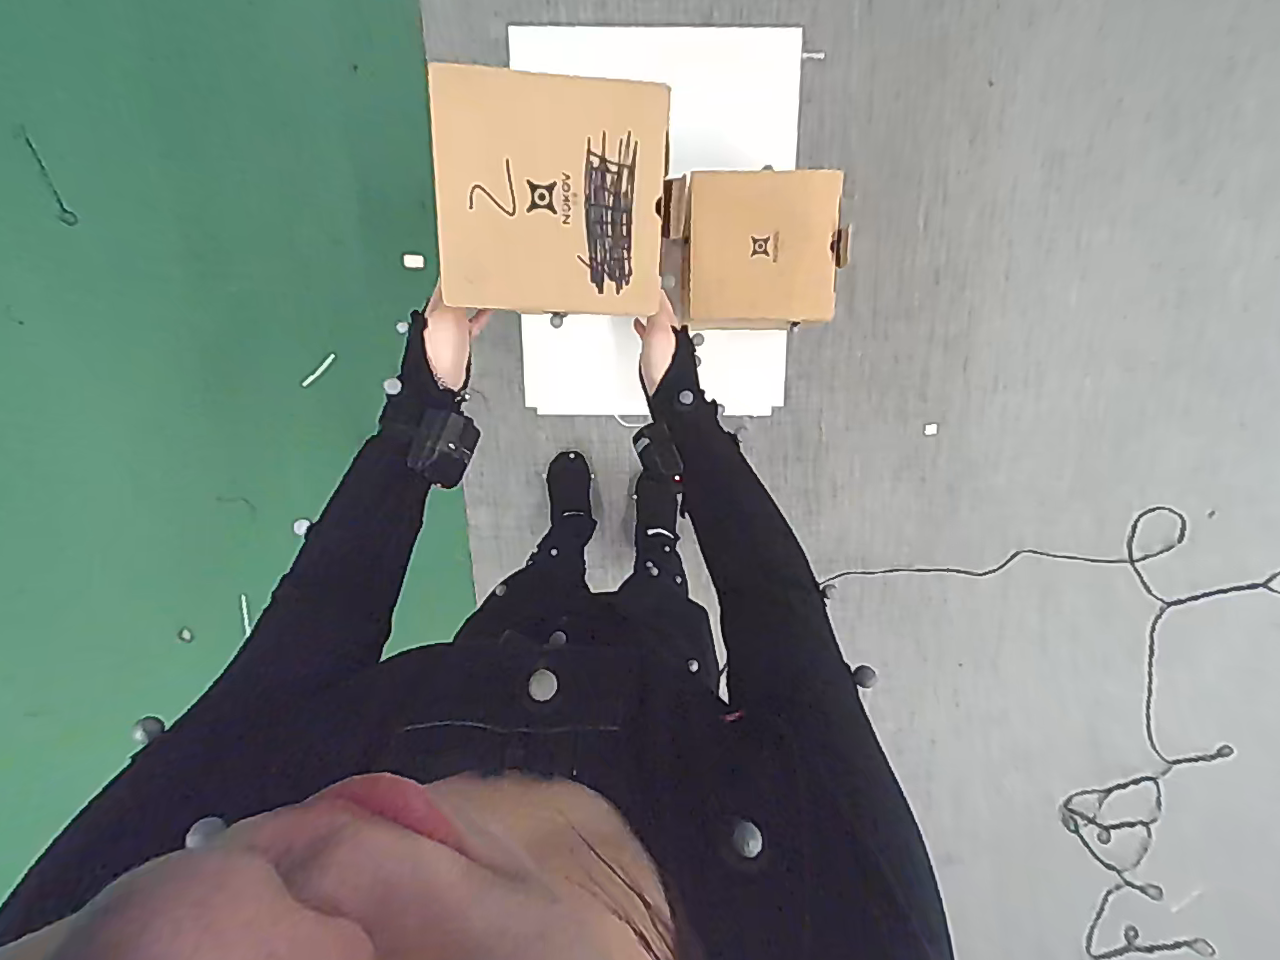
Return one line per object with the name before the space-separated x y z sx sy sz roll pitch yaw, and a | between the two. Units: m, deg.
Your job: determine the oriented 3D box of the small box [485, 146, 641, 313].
small box | -0.088 -0.309 0.699 0.179 0.176 0.168 -1 102 -1
